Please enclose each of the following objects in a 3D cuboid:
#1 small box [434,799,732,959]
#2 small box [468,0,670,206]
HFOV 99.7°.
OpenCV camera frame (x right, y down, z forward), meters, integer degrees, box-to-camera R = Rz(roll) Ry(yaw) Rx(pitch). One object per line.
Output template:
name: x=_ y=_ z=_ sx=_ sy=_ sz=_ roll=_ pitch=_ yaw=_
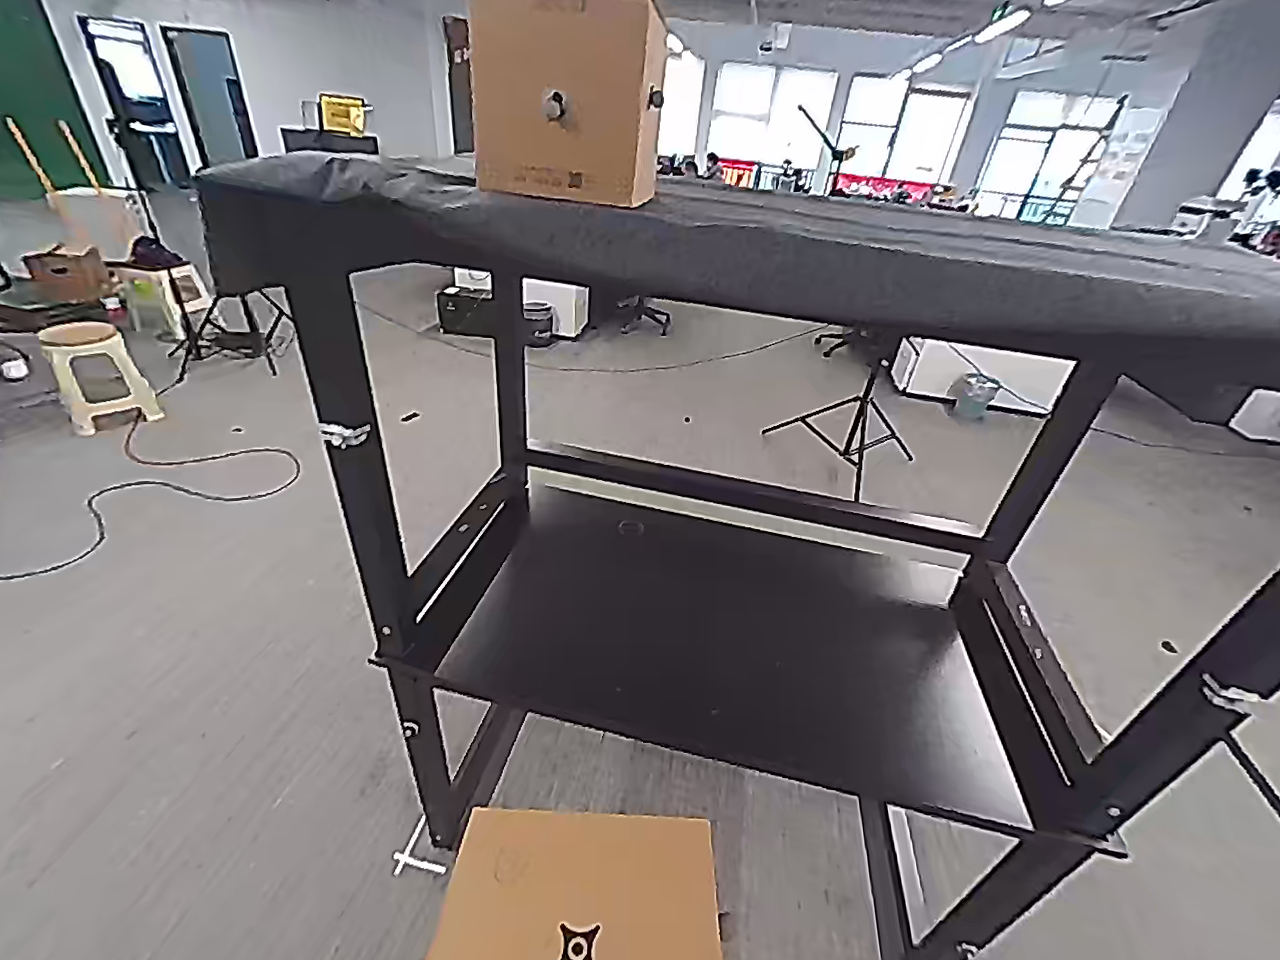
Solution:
small box: x=-0.034 y=0.334 z=0.328 sx=0.168 sy=0.176 sz=0.179 roll=2 pitch=26 yaw=1
small box: x=-0.066 y=-0.397 z=0.576 sx=0.168 sy=0.176 sz=0.179 roll=9 pitch=32 yaw=3
